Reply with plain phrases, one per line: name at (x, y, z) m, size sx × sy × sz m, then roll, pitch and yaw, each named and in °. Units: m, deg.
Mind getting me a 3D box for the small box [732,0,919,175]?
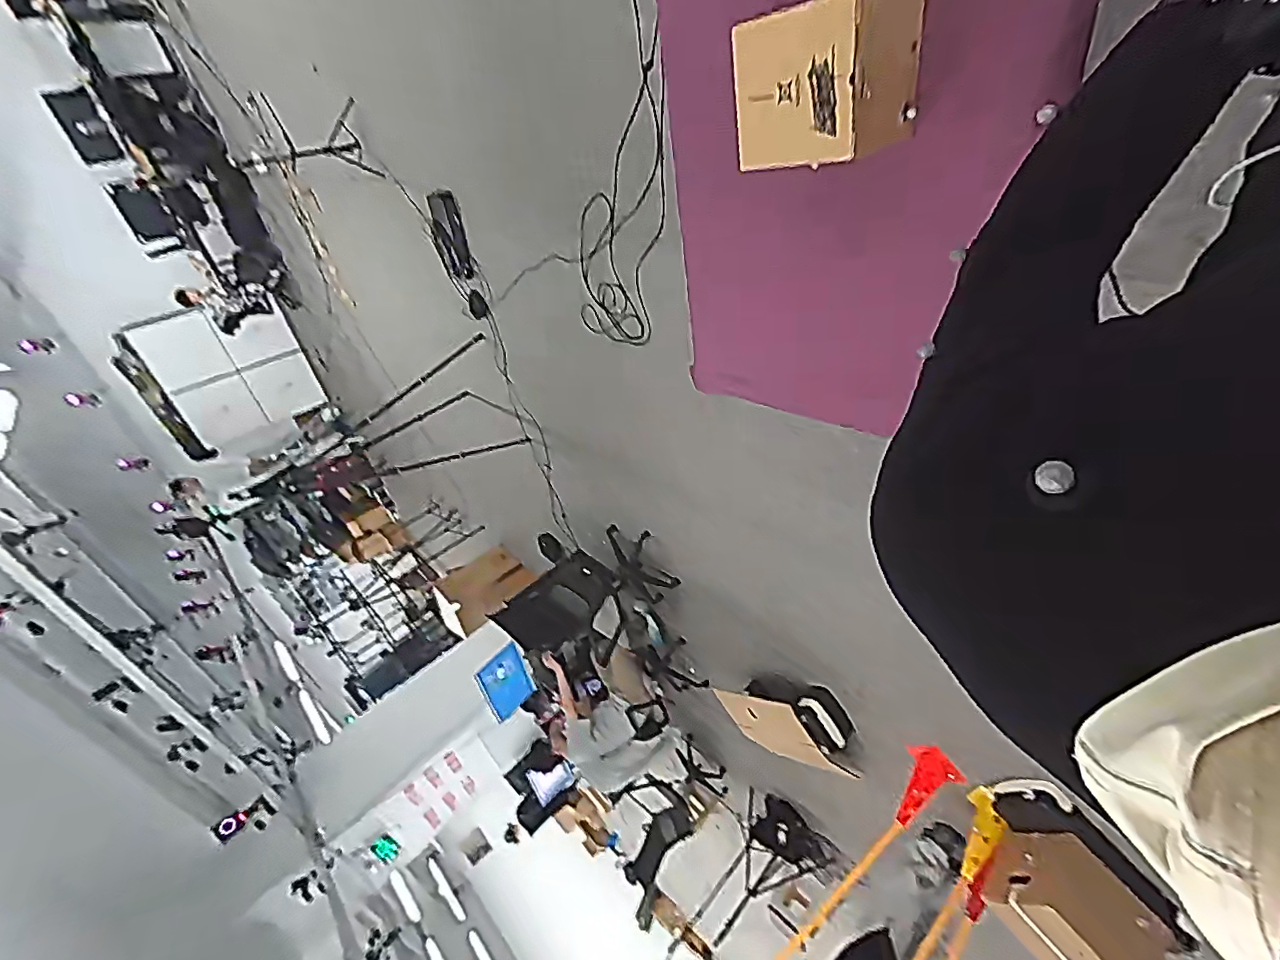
small box at (0.248, -0.522, 0.724) m, size 0.179 × 0.176 × 0.168 m, roll 24°, pitch 137°, yaw 42°
